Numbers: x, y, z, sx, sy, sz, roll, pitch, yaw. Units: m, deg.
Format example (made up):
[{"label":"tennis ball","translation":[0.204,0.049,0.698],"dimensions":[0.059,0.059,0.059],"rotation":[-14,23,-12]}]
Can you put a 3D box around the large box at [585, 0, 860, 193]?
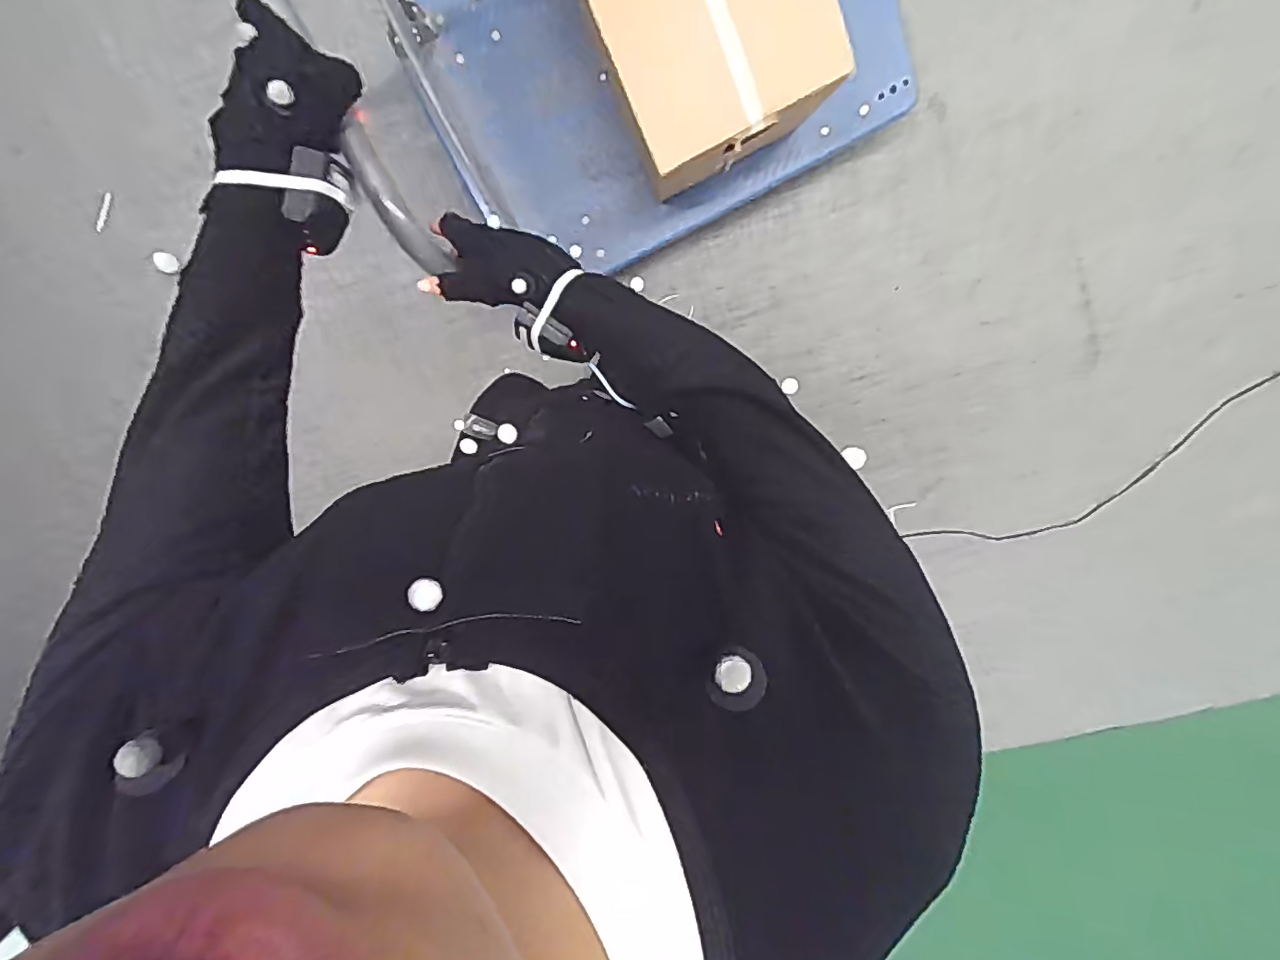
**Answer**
[{"label":"large box","translation":[0.099,-0.761,0.882],"dimensions":[0.320,0.320,0.408],"rotation":[-24,107,9]}]
